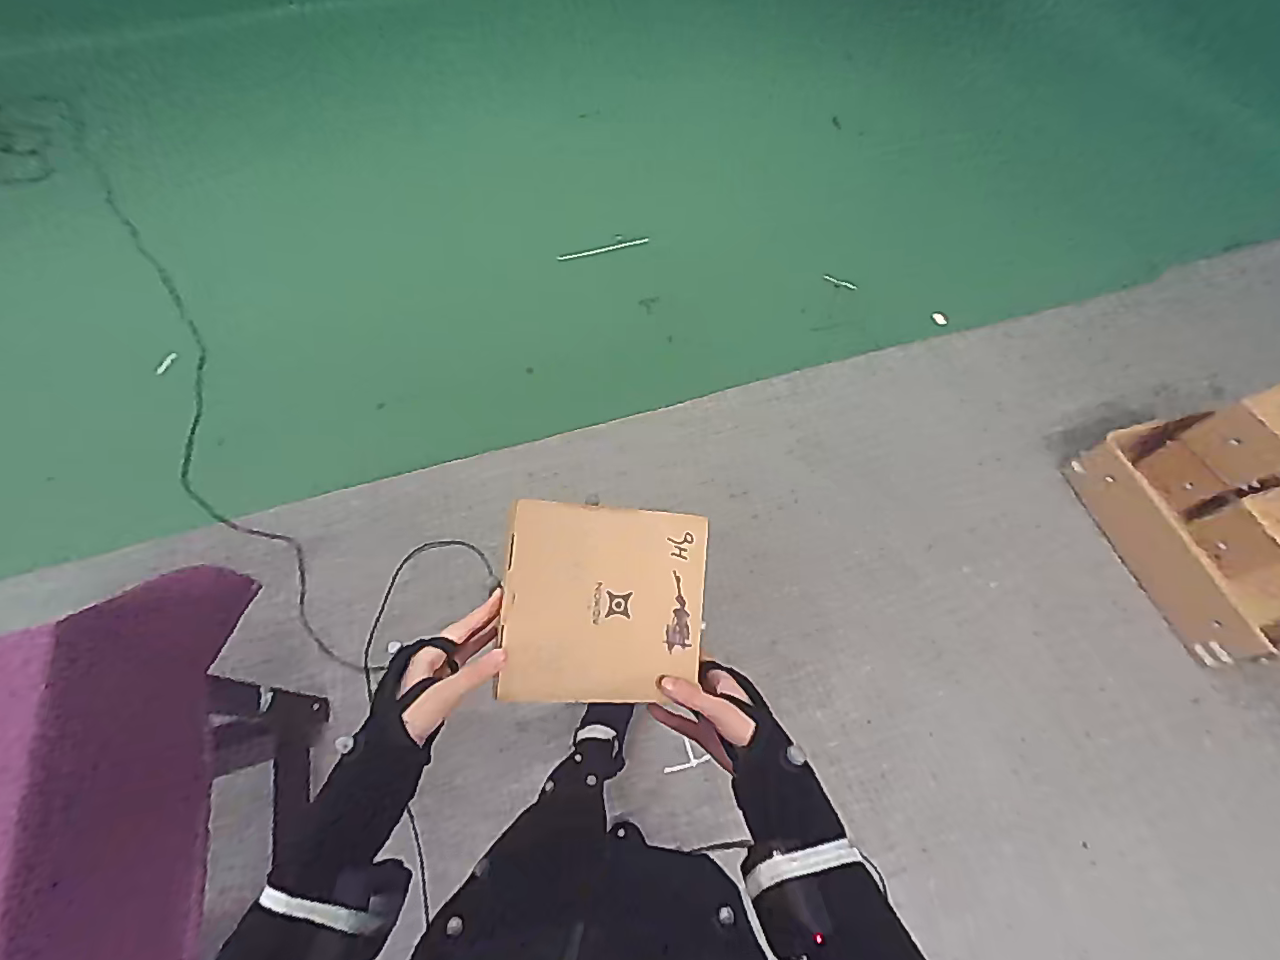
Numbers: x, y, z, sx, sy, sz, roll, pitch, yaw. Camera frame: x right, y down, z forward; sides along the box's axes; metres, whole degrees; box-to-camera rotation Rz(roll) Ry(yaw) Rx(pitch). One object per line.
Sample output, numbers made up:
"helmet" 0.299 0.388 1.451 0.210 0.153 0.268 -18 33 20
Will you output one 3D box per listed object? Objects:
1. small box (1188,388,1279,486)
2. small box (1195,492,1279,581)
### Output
"small box" 1.545 -0.103 1.331 0.168 0.176 0.179 -18 63 -7
"small box" 1.615 0.141 1.385 0.179 0.176 0.168 -14 61 -5
